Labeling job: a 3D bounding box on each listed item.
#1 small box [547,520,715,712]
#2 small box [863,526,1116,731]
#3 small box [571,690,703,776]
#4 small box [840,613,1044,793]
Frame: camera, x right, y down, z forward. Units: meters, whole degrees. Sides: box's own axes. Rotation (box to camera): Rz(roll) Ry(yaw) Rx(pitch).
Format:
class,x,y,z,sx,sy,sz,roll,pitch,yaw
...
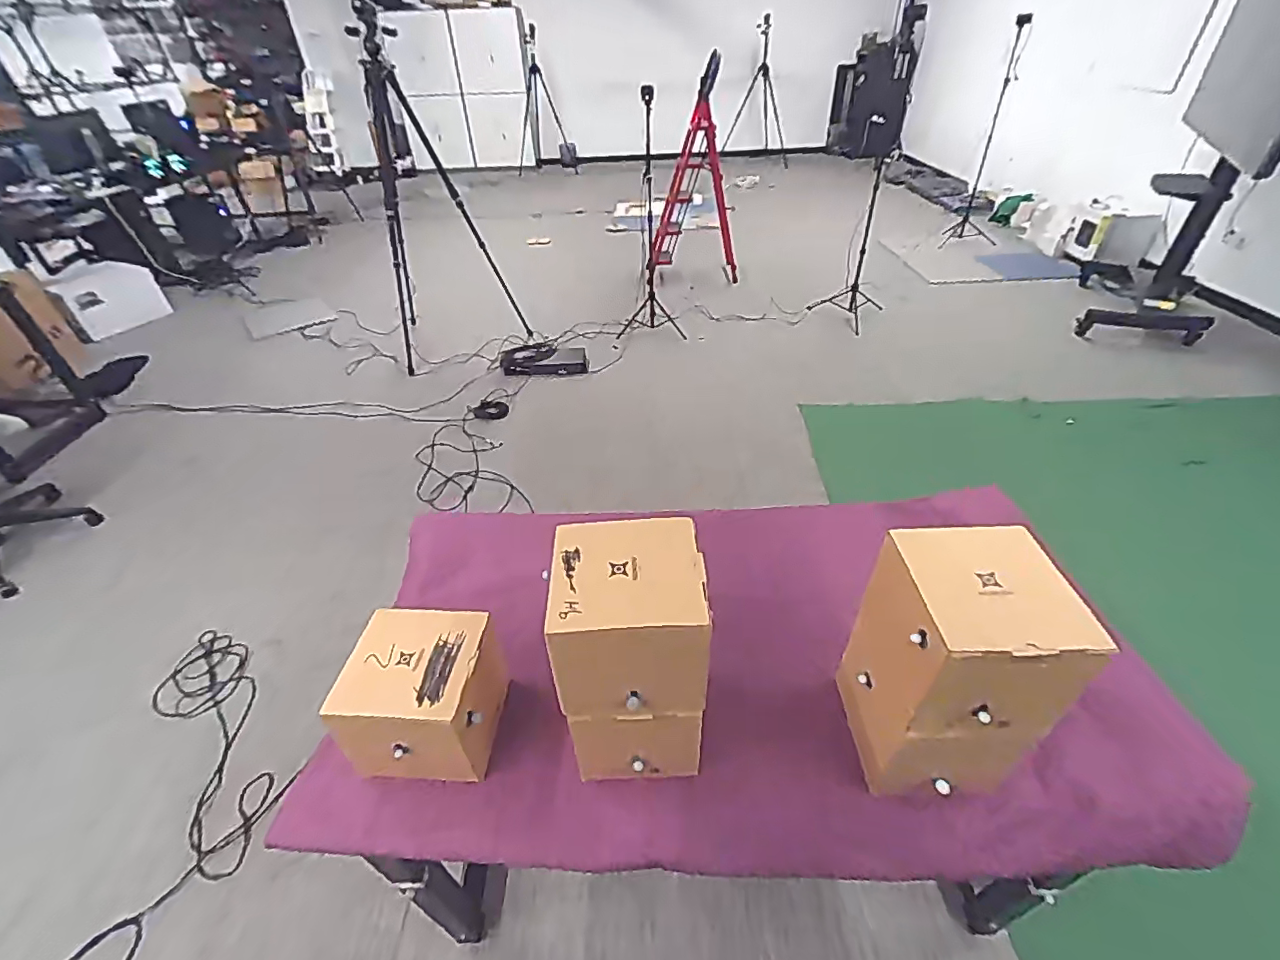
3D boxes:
class,x,y,z,sx,sy,sz,roll,pitch,yaw
small box,-0.010,0.167,0.667,0.179,0.176,0.168,-2,38,-1
small box,0.386,0.174,0.643,0.168,0.176,0.179,-2,39,1
small box,-0.004,0.294,0.771,0.168,0.176,0.179,-3,38,0
small box,0.390,0.303,0.742,0.168,0.176,0.179,-2,40,1
